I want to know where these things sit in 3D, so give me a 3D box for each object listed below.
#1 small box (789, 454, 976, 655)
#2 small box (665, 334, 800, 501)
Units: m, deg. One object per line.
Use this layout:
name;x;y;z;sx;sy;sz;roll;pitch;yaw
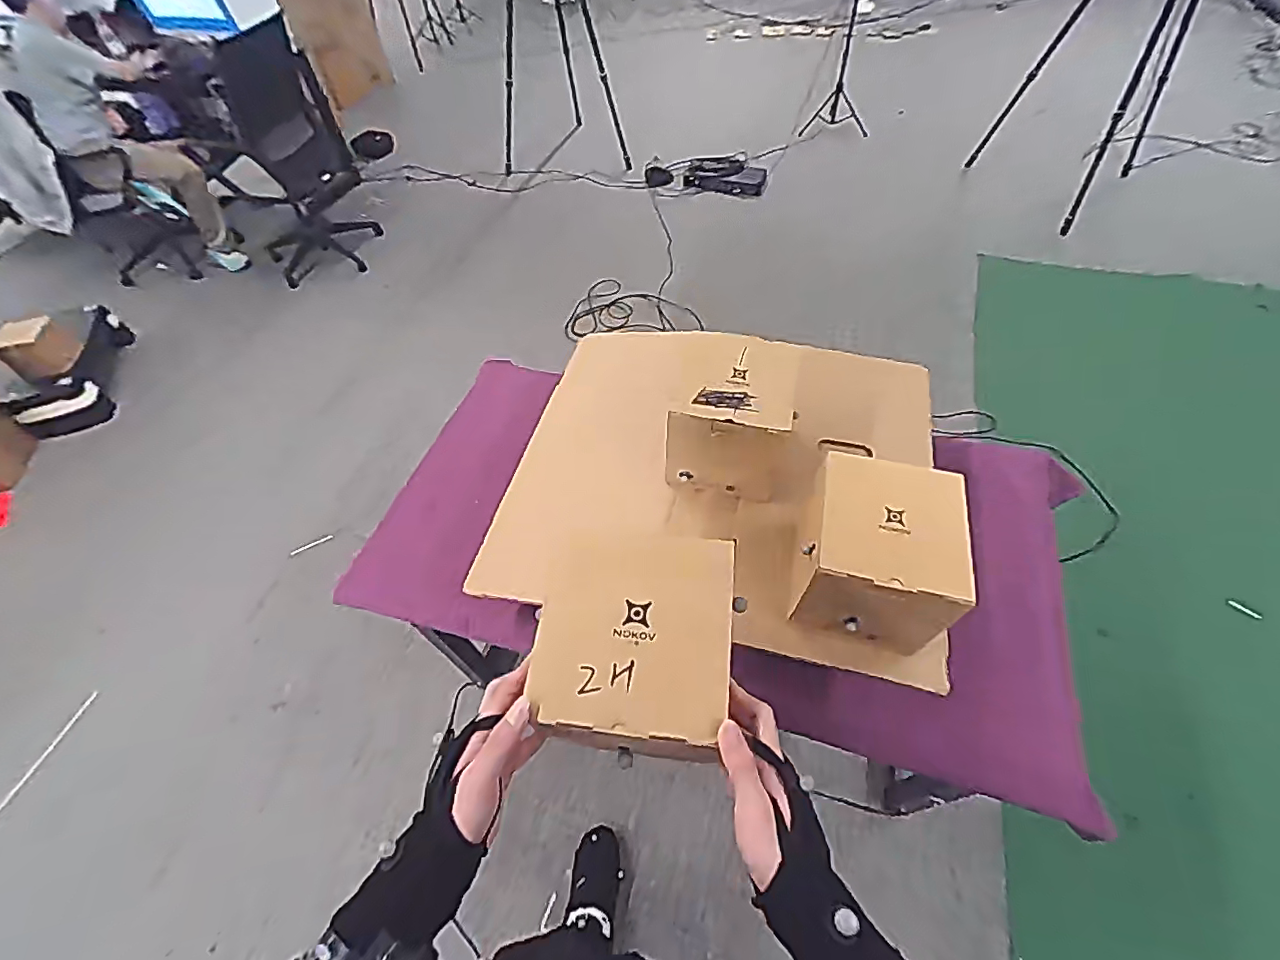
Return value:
small box;0.294;0.097;0.688;0.168;0.176;0.179;12;56;9
small box;0.136;-0.091;0.823;0.168;0.176;0.179;11;55;8
